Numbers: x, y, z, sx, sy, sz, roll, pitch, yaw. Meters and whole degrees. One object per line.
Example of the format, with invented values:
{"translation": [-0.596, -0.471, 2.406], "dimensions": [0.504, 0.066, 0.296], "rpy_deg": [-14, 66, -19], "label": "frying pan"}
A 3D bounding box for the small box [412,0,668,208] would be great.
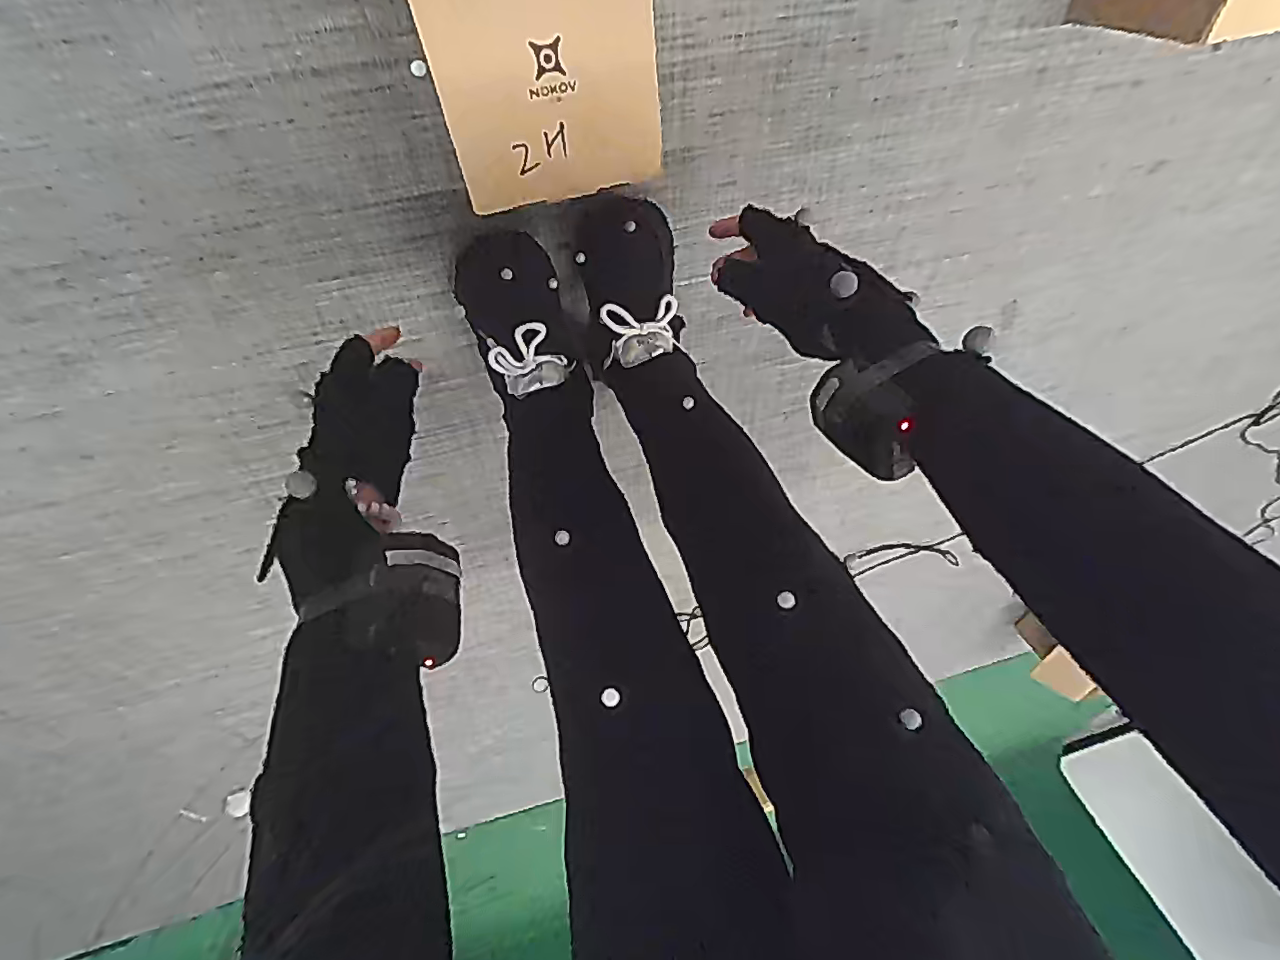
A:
{"translation": [-0.083, -0.350, 0.430], "dimensions": [0.168, 0.176, 0.179], "rpy_deg": [-14, 139, -5], "label": "small box"}

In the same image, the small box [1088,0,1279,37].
{"translation": [0.577, -0.529, 0.485], "dimensions": [0.179, 0.176, 0.168], "rpy_deg": [-14, 139, -5], "label": "small box"}
